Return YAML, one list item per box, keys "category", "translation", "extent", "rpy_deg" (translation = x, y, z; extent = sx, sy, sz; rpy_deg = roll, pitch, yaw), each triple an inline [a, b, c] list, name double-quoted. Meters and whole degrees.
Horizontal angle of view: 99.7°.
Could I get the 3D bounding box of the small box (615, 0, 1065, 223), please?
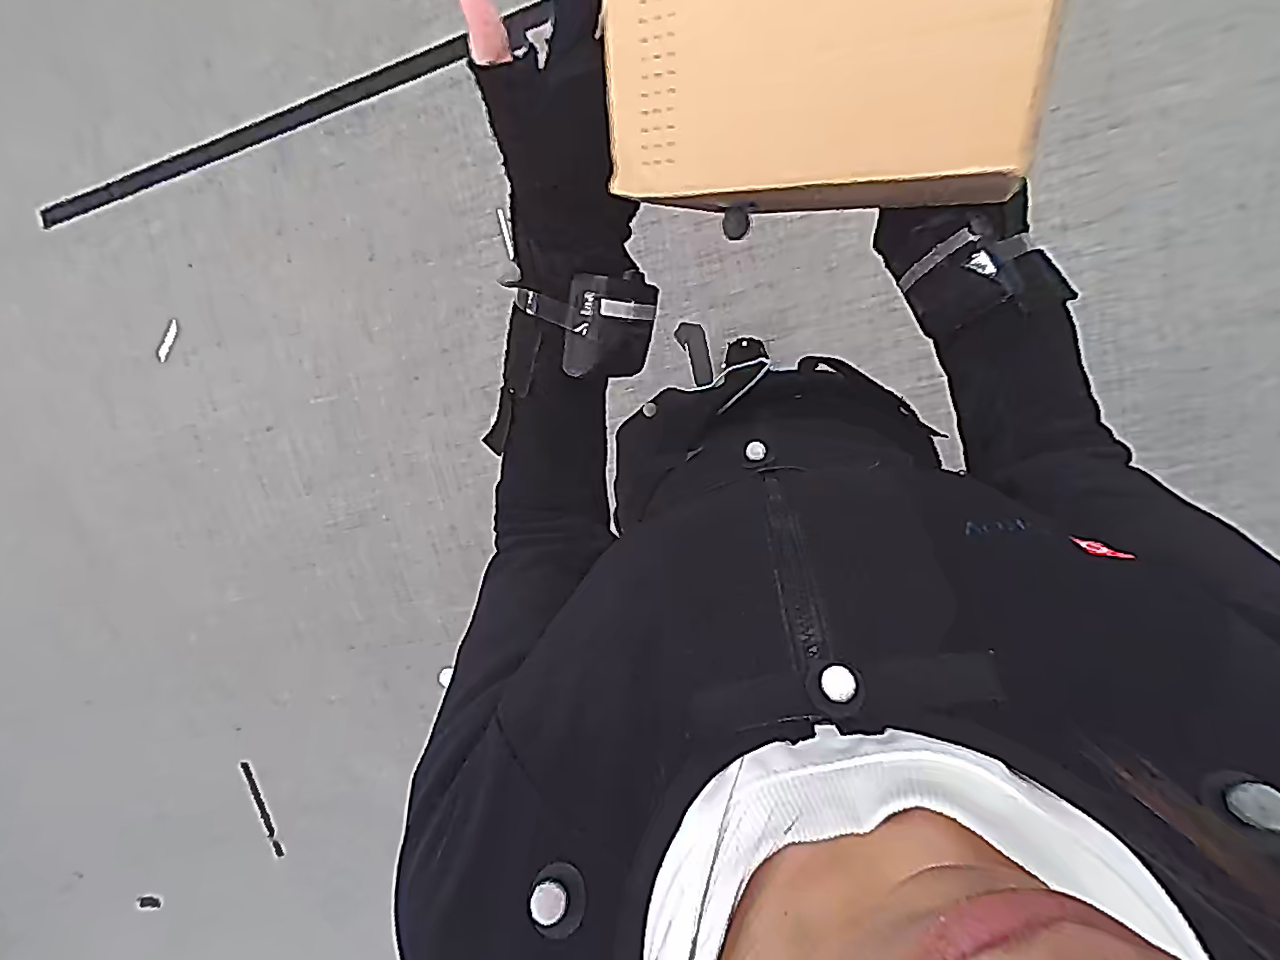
- category: "small box"
  translation: [0.096, -0.230, 0.262]
  extent: [0.176, 0.168, 0.179]
  rpy_deg: [10, 115, 26]
